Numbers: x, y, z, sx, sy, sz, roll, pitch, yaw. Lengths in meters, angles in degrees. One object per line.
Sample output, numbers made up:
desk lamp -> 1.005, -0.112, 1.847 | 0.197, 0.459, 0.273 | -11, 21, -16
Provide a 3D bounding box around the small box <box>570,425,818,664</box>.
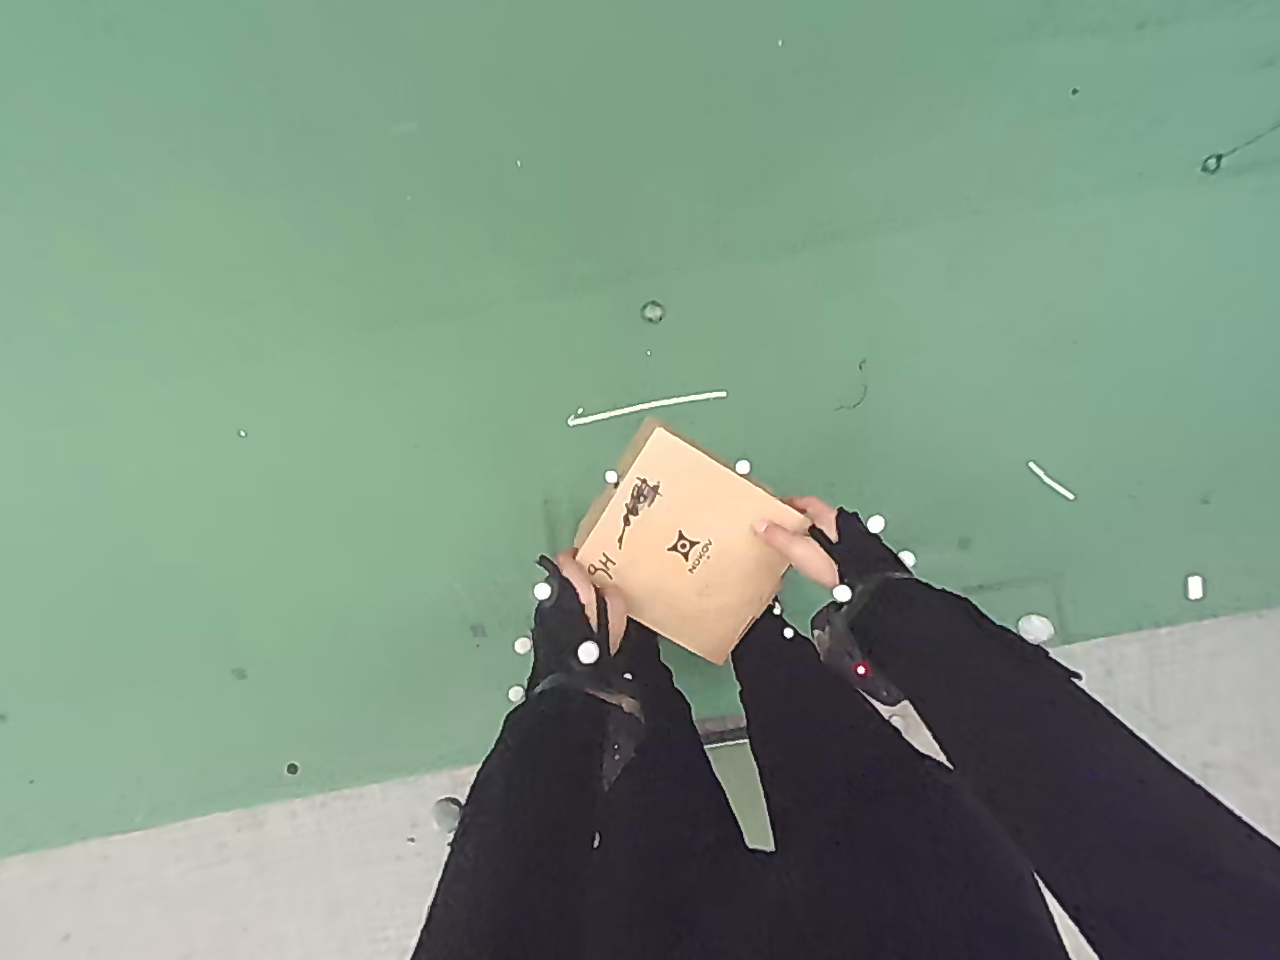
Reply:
small box -> 0.047, 0.052, 0.574 | 0.179, 0.176, 0.168 | 31, 98, -7
